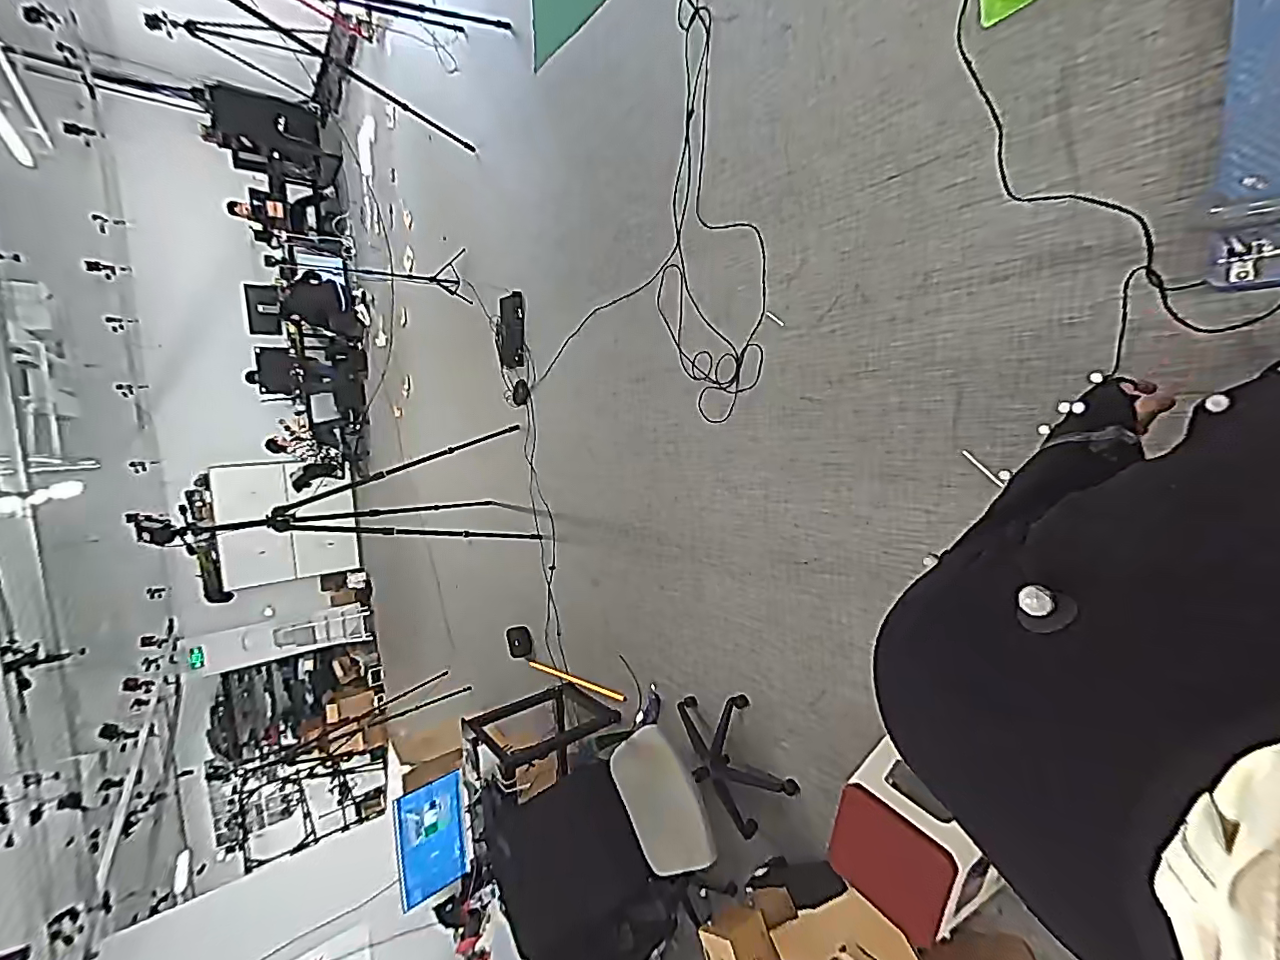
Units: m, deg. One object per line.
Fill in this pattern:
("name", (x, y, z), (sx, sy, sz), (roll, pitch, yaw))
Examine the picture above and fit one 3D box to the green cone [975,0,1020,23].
("green cone", (0.785, -1.256, 1.215), (0.202, 0.368, 0.200), (-2, 95, 54))
